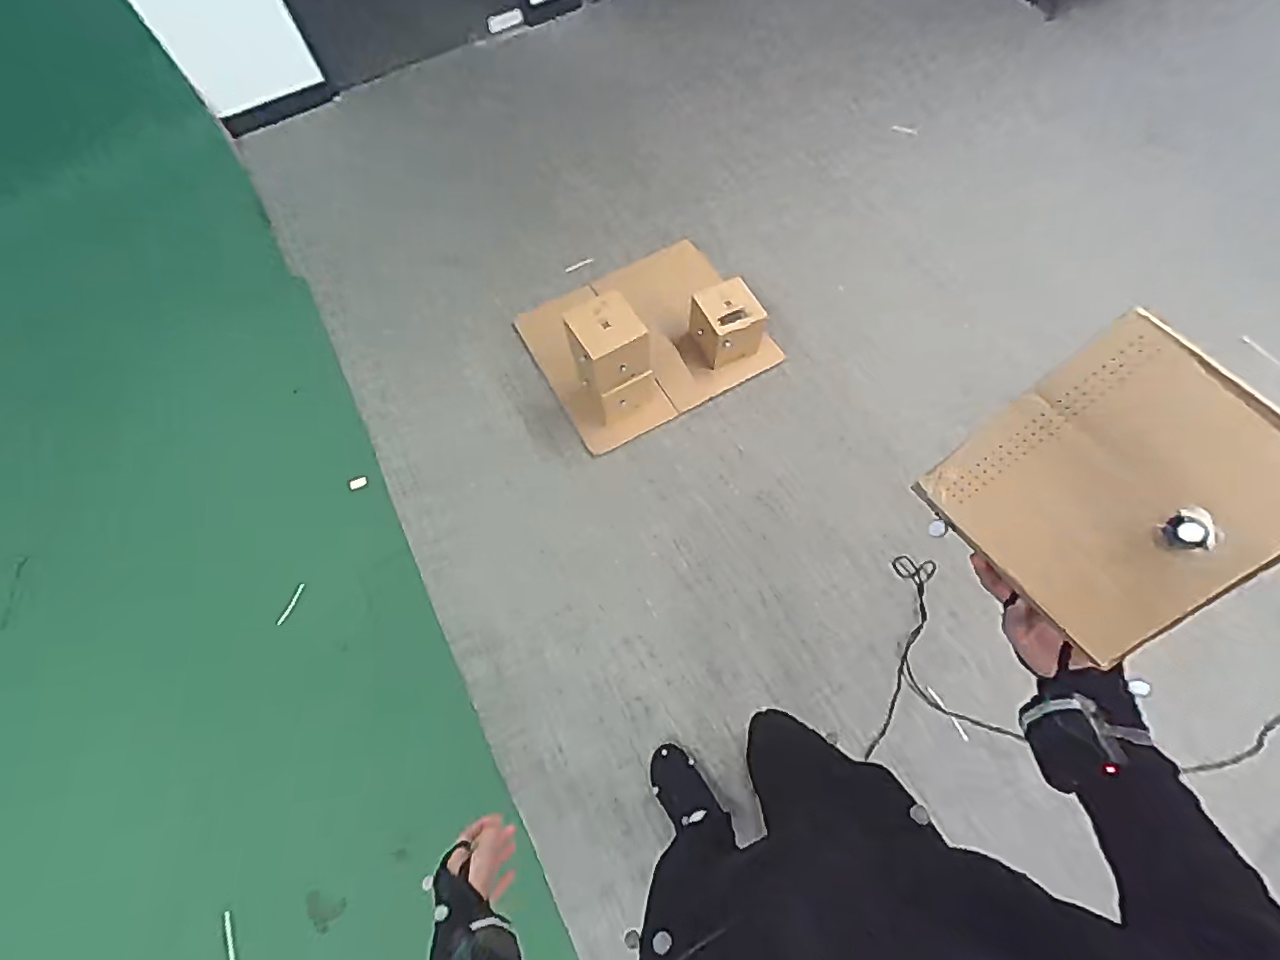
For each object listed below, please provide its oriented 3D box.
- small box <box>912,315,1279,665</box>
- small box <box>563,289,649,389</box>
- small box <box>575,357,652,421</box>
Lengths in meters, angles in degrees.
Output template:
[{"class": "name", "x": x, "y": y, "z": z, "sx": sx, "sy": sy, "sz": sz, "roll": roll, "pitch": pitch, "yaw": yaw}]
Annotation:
[{"class": "small box", "x": 0.345, "y": 0.006, "z": 0.418, "sx": 0.179, "sy": 0.168, "sz": 0.176, "roll": -44, "pitch": 69, "yaw": 17}, {"class": "small box", "x": -0.084, "y": -0.369, "z": 1.454, "sx": 0.168, "sy": 0.176, "sz": 0.179, "roll": -29, "pitch": 68, "yaw": -11}, {"class": "small box", "x": -0.072, "y": -0.298, "z": 1.603, "sx": 0.168, "sy": 0.176, "sz": 0.179, "roll": -30, "pitch": 67, "yaw": -10}]
